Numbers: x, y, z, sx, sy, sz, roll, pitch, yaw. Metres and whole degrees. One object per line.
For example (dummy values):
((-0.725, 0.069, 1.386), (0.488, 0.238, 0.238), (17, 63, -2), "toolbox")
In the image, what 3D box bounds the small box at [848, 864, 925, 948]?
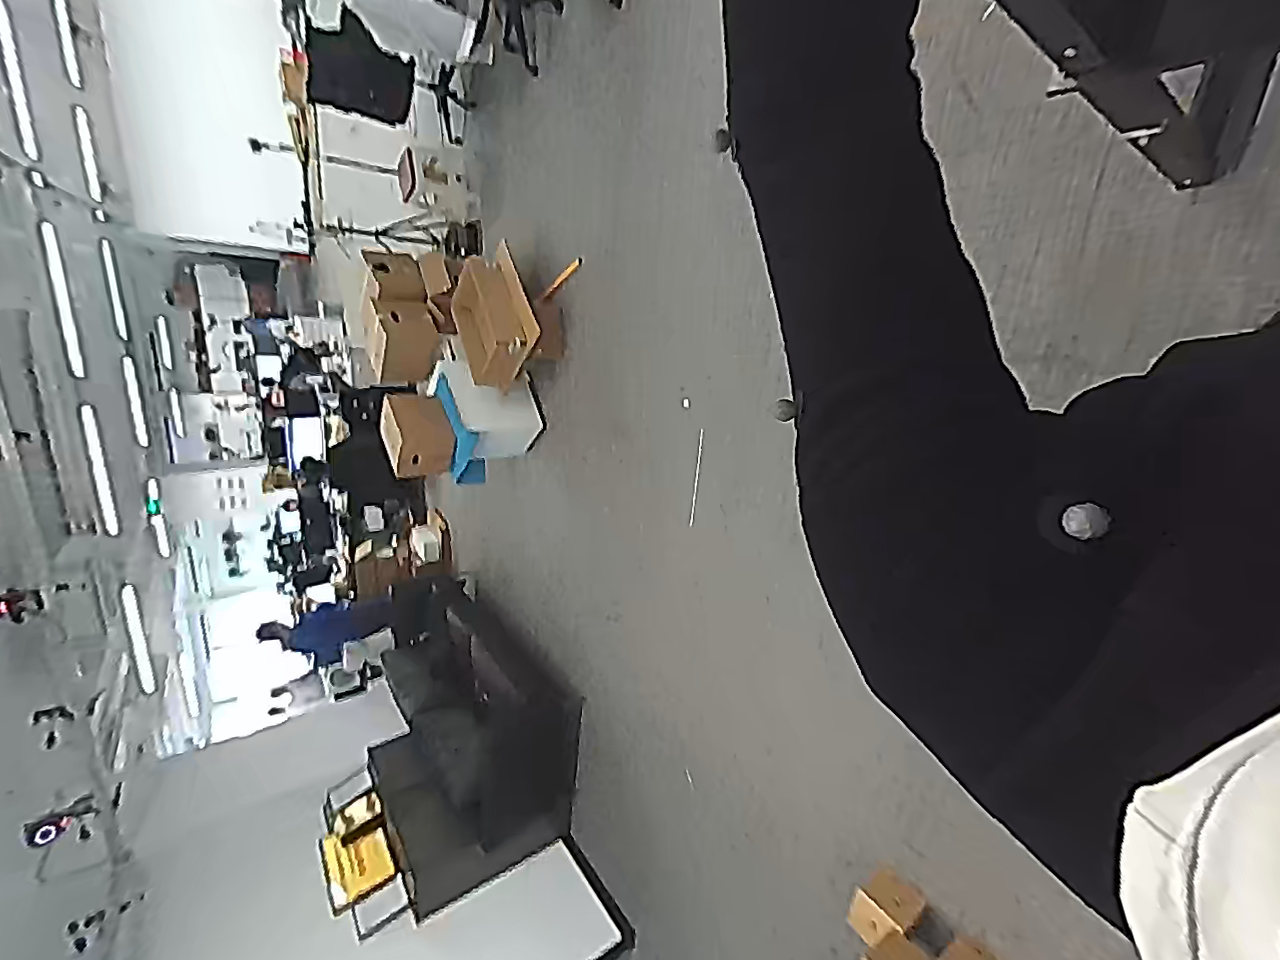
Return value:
((0.843, 1.471, 1.842), (0.168, 0.176, 0.179), (26, 117, 48), "small box")

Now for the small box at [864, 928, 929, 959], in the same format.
((0.793, 1.536, 1.646), (0.179, 0.176, 0.168), (25, 116, 50), "small box")
